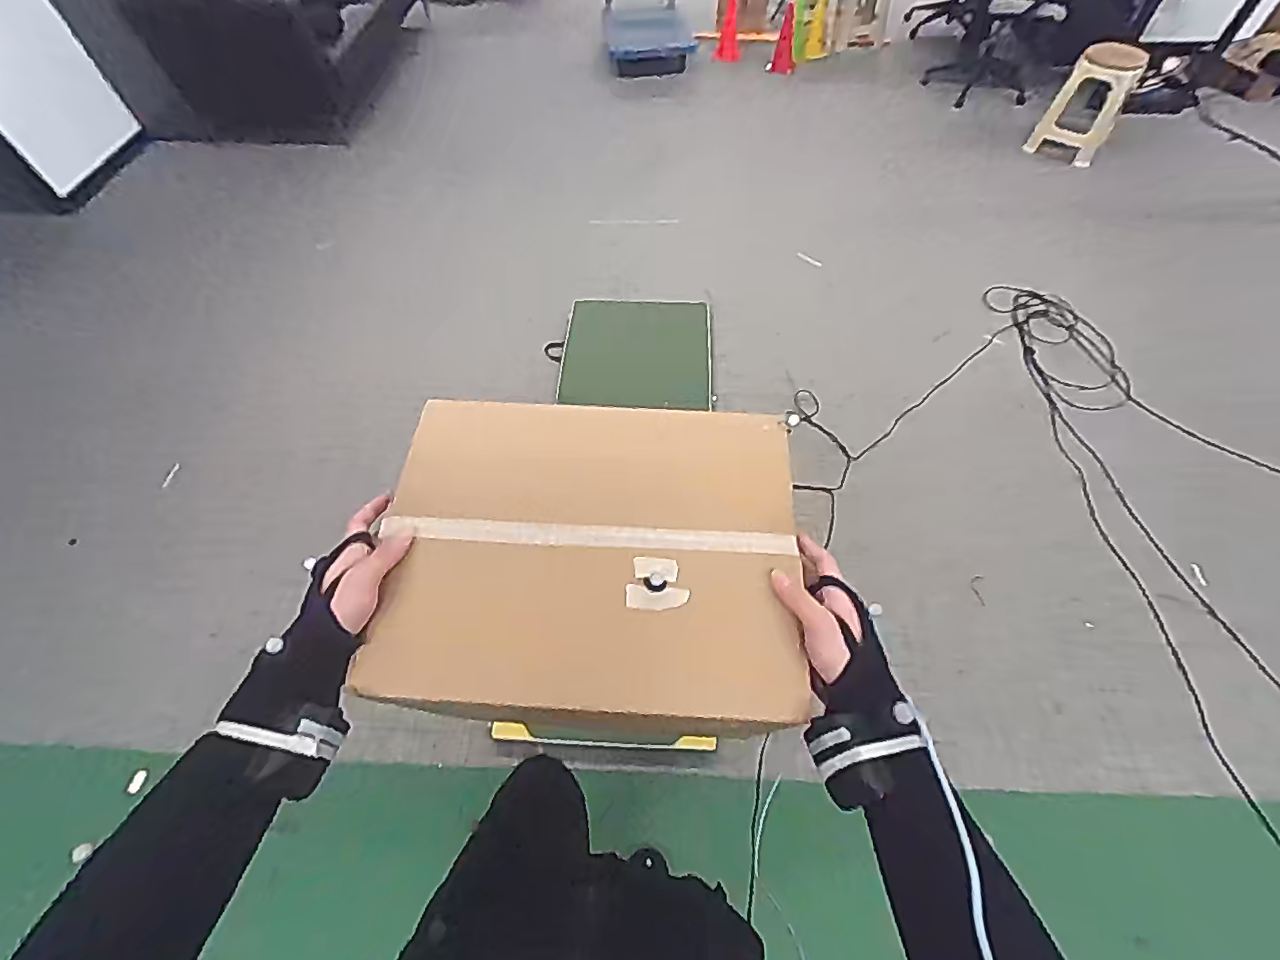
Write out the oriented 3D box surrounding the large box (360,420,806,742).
[{"bbox_3d":[-0.048,0.142,0.674,0.408,0.320,0.320,3,62,1],"label":"large box"}]
